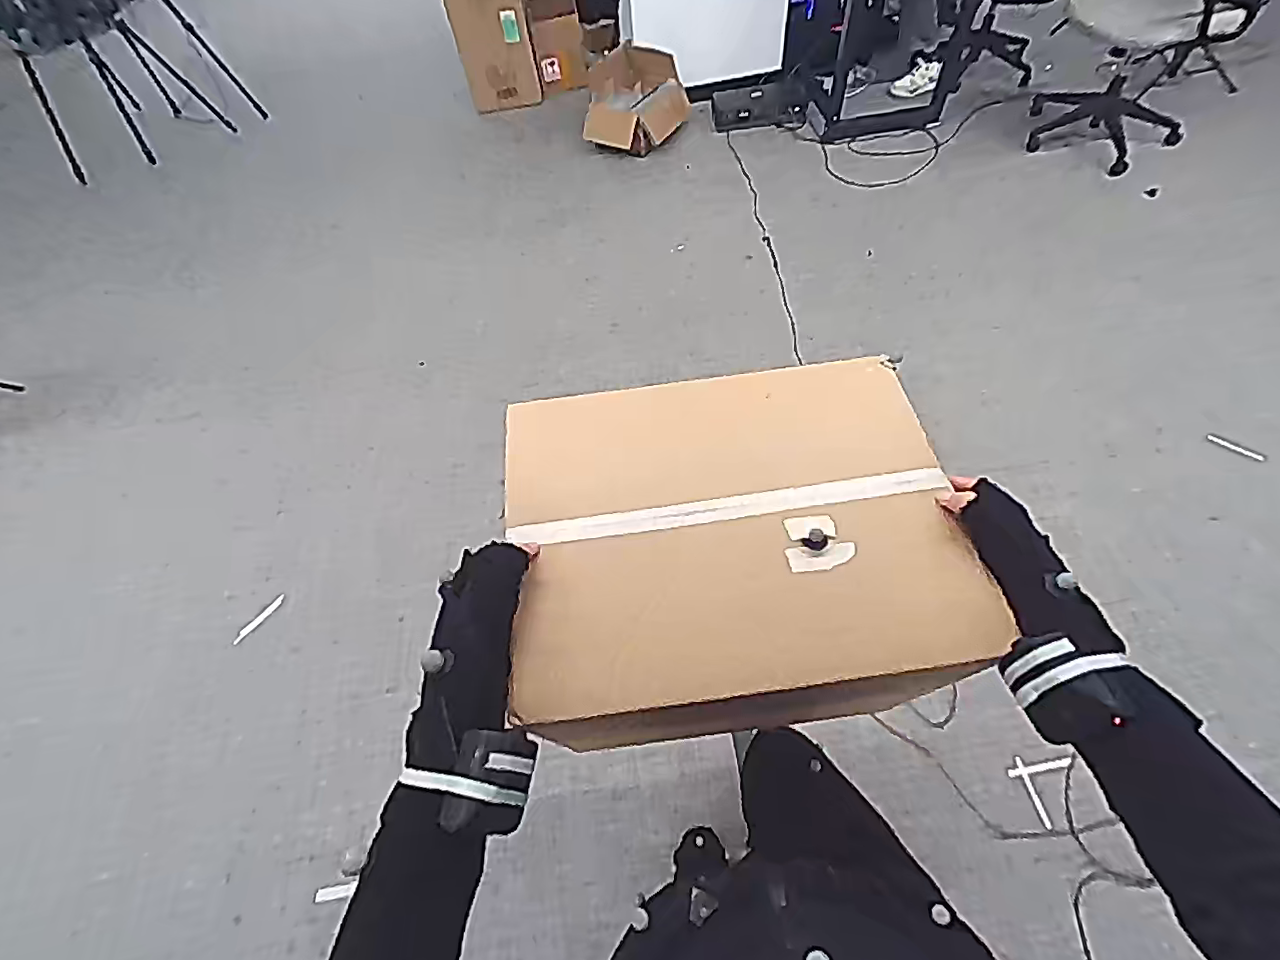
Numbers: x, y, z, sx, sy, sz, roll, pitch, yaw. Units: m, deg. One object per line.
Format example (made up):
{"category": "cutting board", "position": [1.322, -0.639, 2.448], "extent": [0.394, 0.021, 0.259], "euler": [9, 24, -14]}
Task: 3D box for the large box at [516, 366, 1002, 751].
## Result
{"category": "large box", "position": [0.089, 0.108, 0.638], "extent": [0.408, 0.320, 0.320], "euler": [-8, 59, -1]}
